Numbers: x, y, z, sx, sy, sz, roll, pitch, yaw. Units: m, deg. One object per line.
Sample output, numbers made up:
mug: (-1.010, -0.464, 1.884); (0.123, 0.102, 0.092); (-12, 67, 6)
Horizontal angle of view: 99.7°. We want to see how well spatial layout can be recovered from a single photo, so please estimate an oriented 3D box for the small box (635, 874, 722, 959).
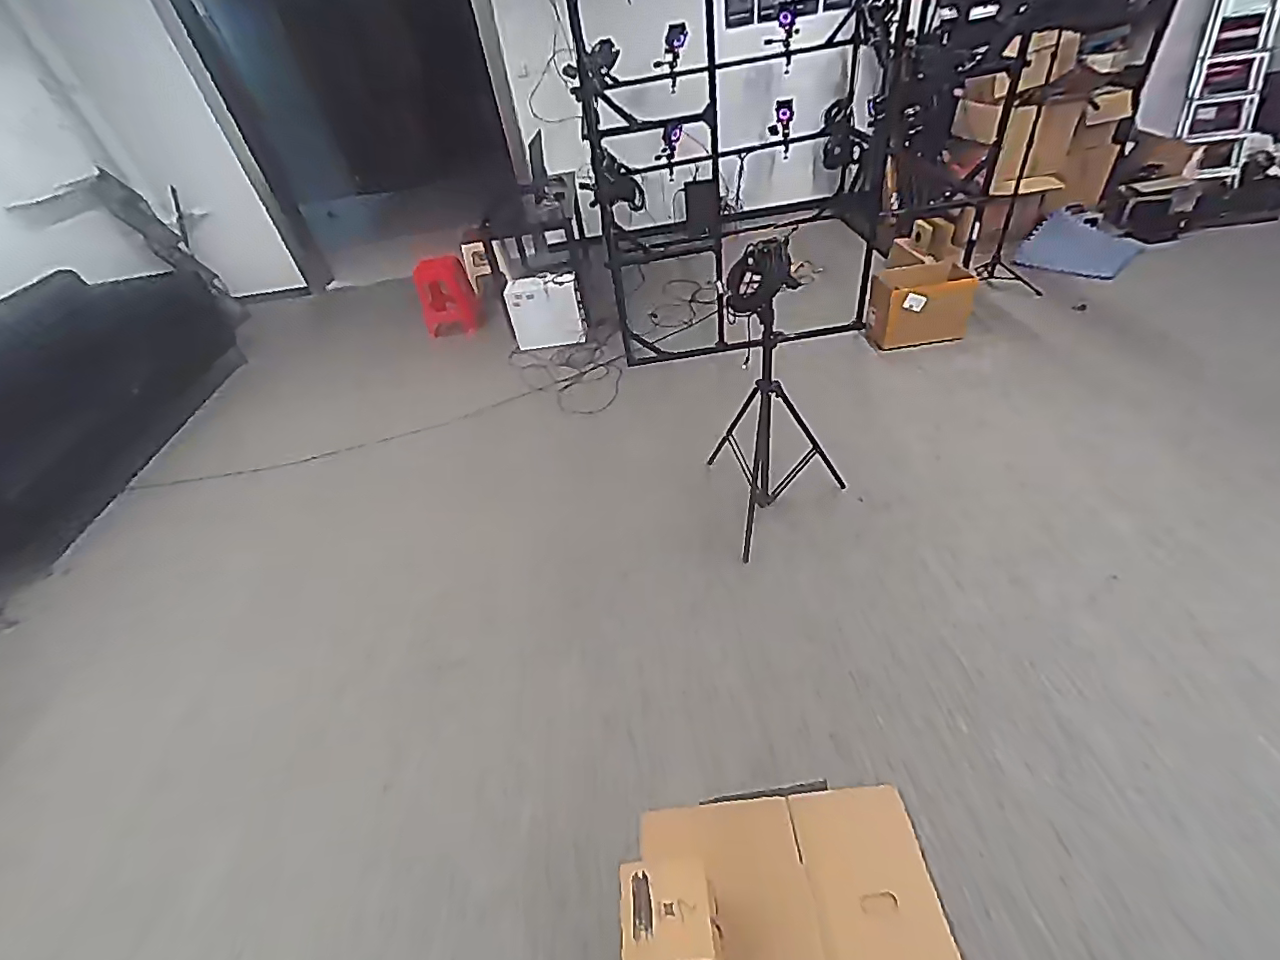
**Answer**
small box: (0.088, 1.010, 1.213); (0.179, 0.176, 0.168); (-9, 41, 3)
